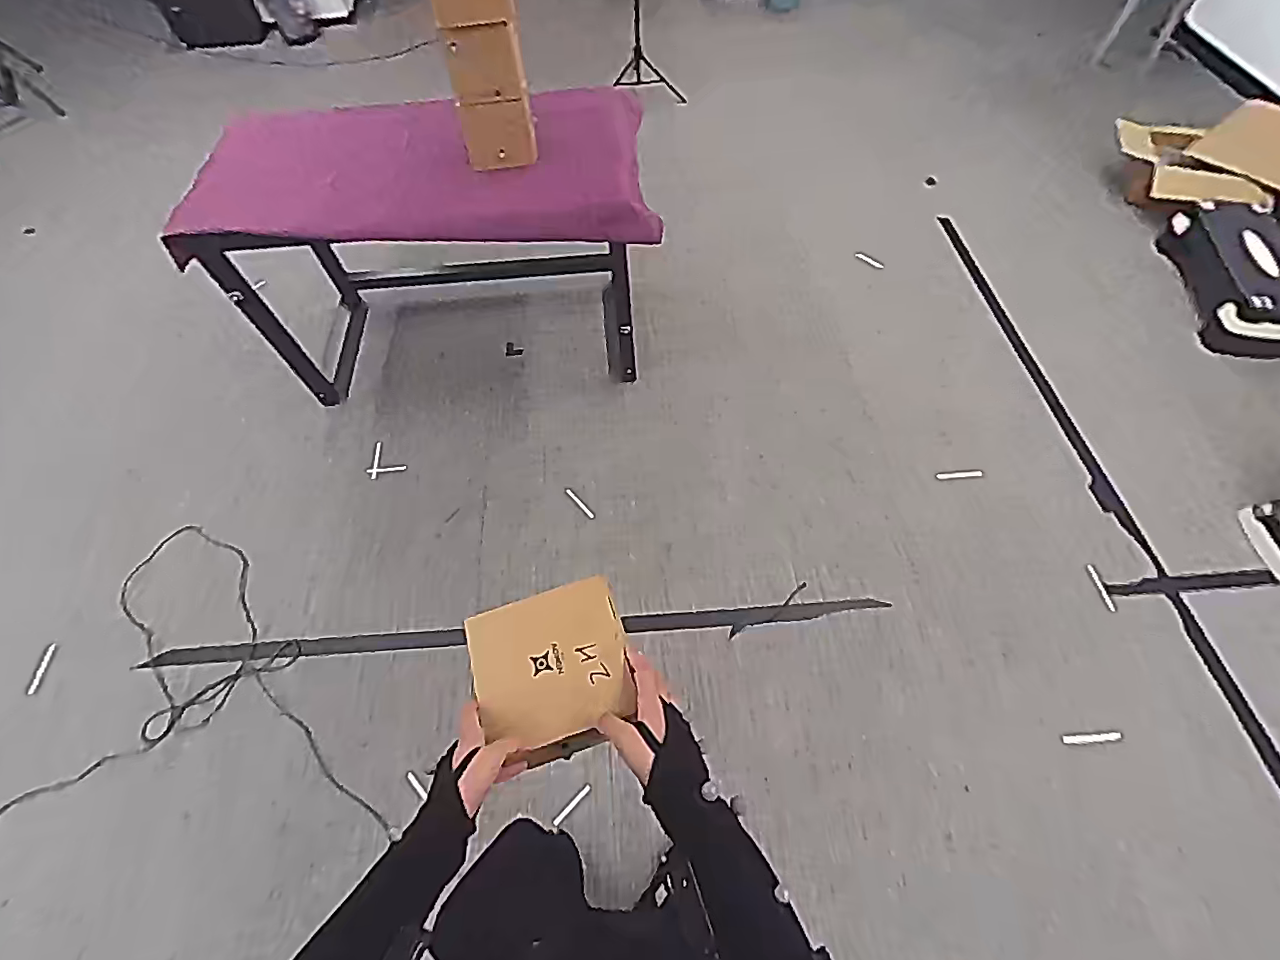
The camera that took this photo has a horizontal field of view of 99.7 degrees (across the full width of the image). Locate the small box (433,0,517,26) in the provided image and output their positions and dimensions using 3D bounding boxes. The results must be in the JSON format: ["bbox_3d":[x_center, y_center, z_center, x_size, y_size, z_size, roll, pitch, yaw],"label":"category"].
[{"bbox_3d":[-0.376,-1.128,1.180,0.179,0.176,0.168,-10,59,-4],"label":"small box"}]

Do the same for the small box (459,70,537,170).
[{"bbox_3d":[-0.377,-0.977,1.472,0.179,0.176,0.168,-7,59,-2],"label":"small box"}]

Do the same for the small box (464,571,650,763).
[{"bbox_3d":[-0.095,0.240,0.674,0.179,0.176,0.168,-18,62,-5],"label":"small box"}]
